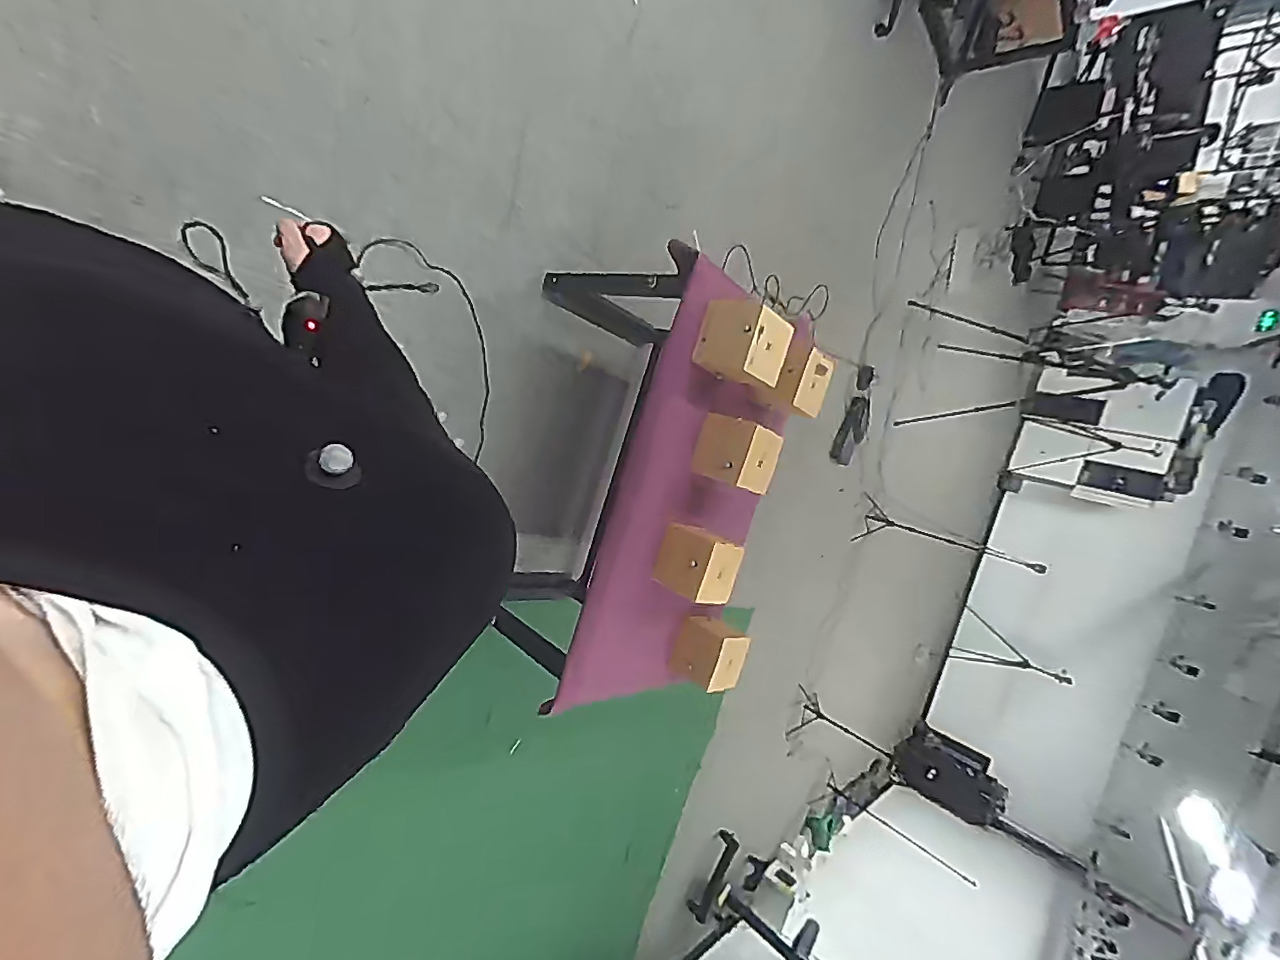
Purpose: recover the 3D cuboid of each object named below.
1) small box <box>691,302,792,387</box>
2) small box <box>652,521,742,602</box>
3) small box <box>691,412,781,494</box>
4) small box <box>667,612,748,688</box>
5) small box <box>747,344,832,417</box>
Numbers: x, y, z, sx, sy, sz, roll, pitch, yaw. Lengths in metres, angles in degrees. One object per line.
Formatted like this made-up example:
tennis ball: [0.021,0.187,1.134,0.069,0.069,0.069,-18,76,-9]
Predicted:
small box: [0.265,-0.357,1.418,0.179,0.176,0.168,12,97,-50]
small box: [0.159,0.234,1.551,0.168,0.176,0.179,16,93,-49]
small box: [0.268,-0.077,1.538,0.168,0.176,0.179,16,94,-50]
small box: [0.212,0.539,1.726,0.168,0.176,0.179,17,92,-48]
small box: [0.448,-0.308,1.638,0.168,0.176,0.179,15,95,-49]
